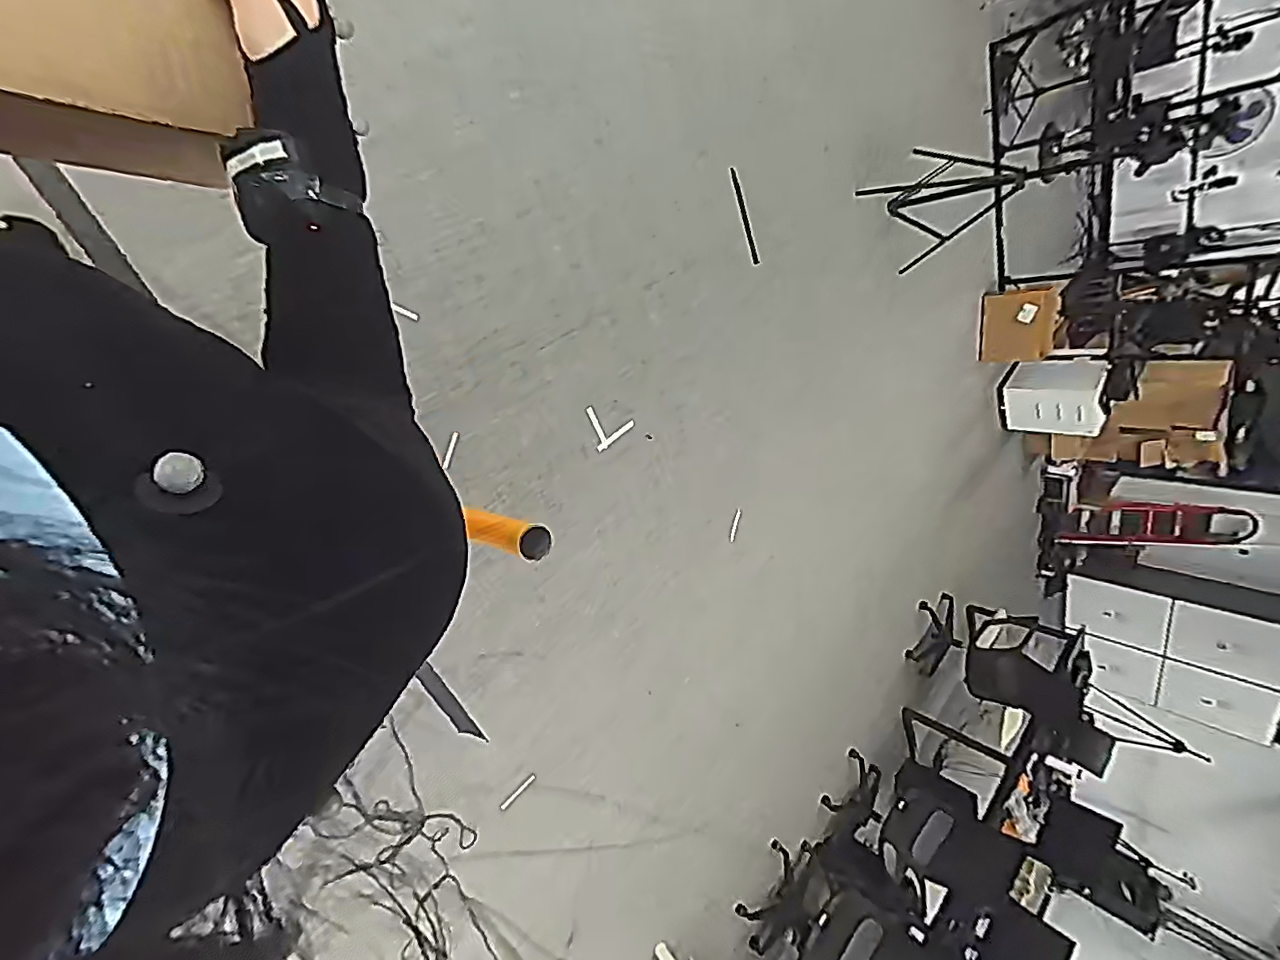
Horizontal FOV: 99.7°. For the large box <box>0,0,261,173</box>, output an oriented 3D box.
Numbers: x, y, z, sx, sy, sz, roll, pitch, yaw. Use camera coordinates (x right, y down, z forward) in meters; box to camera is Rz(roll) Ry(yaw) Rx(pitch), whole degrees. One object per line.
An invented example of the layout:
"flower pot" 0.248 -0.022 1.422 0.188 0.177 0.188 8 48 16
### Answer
"large box" -0.534 -0.427 0.363 0.408 0.320 0.320 -11 112 -39
